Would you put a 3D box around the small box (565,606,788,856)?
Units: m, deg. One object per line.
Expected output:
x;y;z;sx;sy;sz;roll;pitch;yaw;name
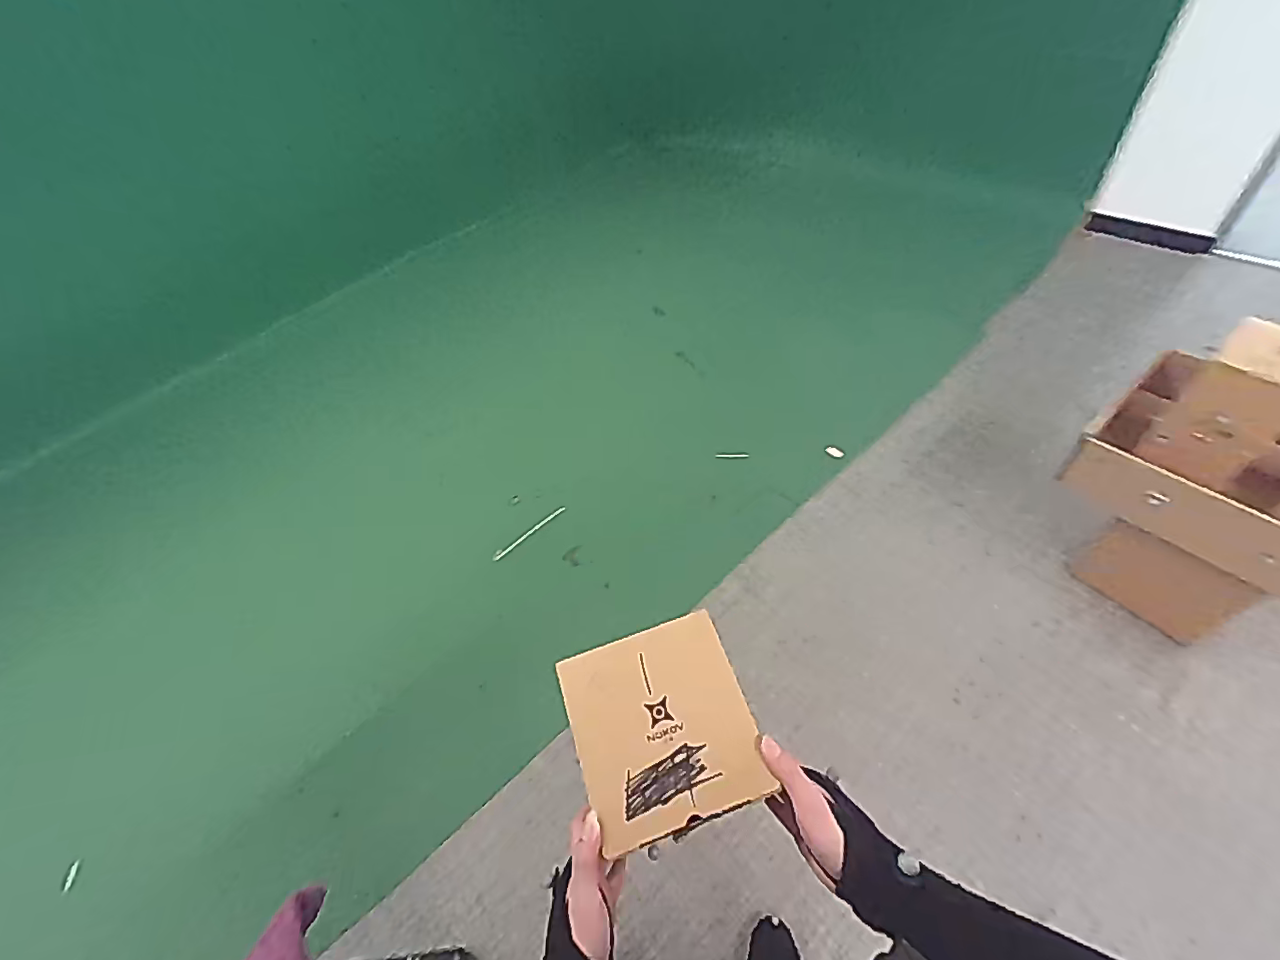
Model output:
0.033;0.261;0.567;0.168;0.176;0.179;-17;58;-7;small box

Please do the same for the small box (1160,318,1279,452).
1.237;-0.193;1.109;0.179;0.176;0.168;-37;54;-18;small box
